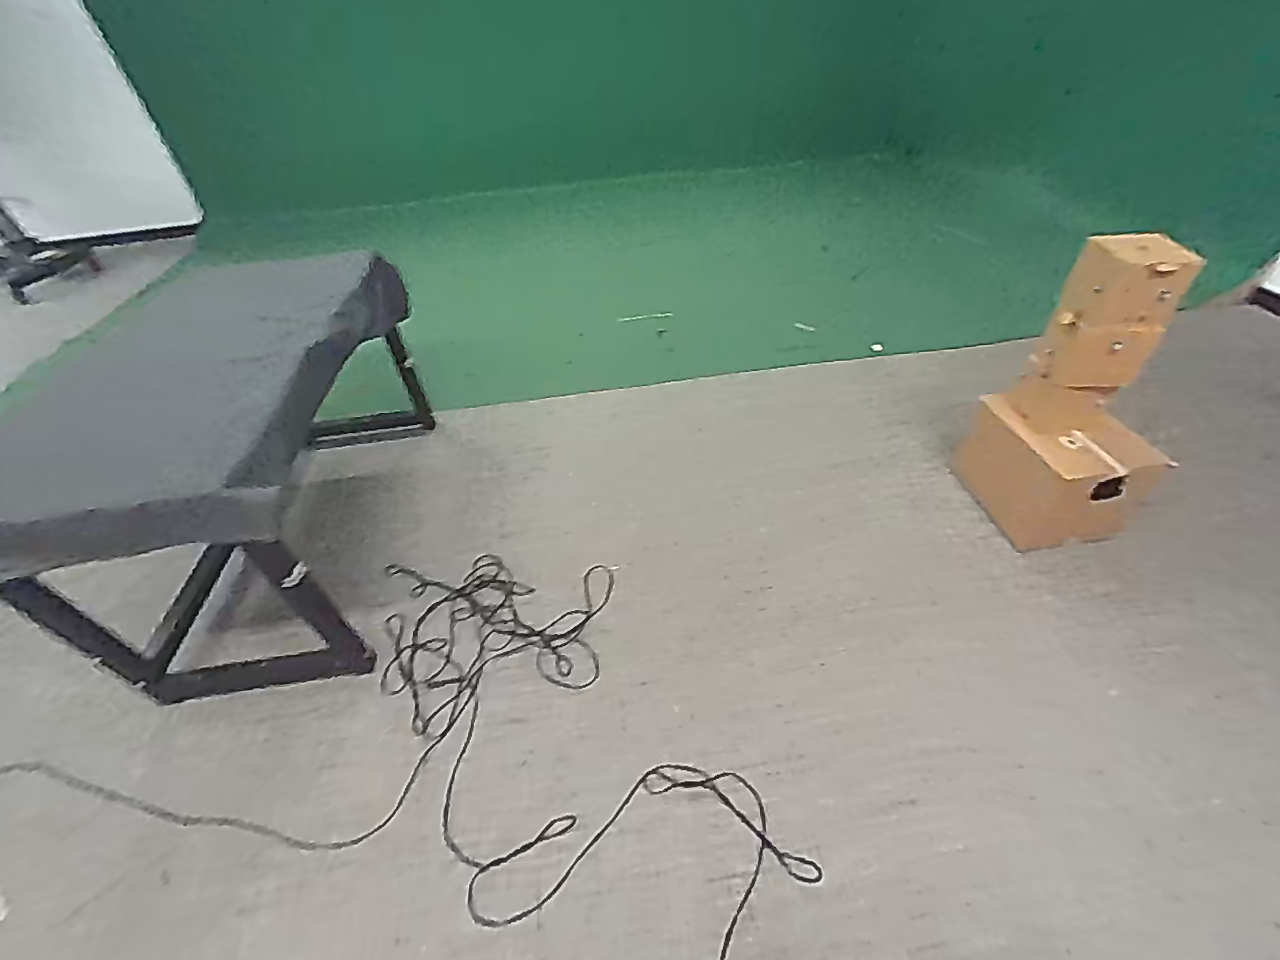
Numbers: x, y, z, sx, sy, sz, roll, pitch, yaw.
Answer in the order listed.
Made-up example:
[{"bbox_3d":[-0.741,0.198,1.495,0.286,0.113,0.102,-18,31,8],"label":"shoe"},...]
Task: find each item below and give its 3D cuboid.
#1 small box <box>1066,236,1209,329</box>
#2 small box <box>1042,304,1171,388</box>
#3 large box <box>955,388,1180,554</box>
[{"bbox_3d":[1.216,-0.486,1.340,0.168,0.176,0.179,0,43,5],"label":"small box"},{"bbox_3d":[1.228,-0.359,1.441,0.179,0.176,0.168,1,44,8],"label":"small box"},{"bbox_3d":[1.281,-0.034,1.685,0.320,0.320,0.408,-9,45,-2],"label":"large box"}]
